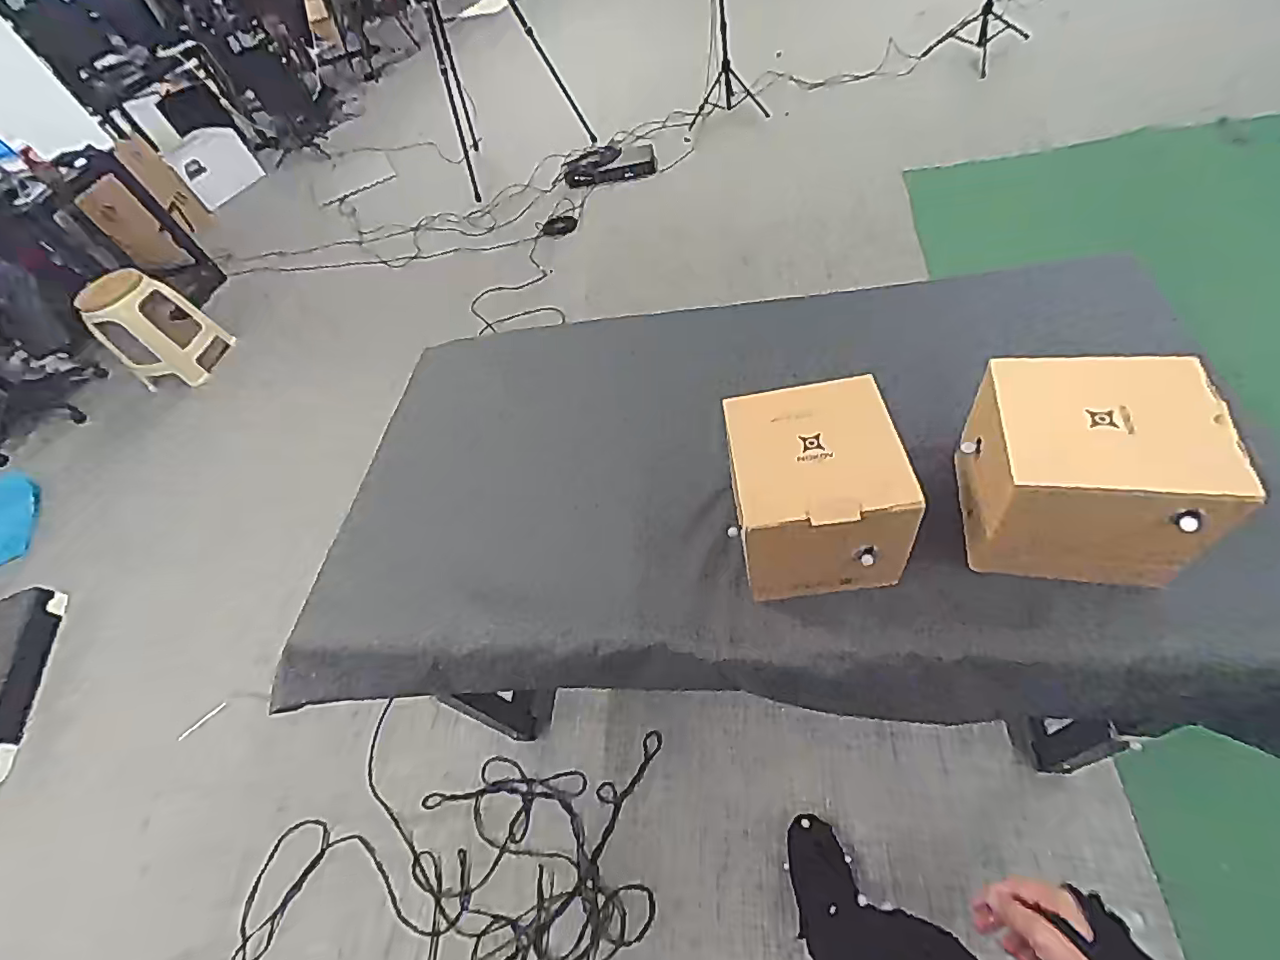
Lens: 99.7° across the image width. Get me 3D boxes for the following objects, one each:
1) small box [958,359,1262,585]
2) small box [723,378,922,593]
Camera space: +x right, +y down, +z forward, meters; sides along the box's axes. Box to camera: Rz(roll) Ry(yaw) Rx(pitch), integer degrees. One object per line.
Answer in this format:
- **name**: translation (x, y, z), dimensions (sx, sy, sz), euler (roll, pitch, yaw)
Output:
- **small box**: translation (0.446, -0.005, 0.559), dimensions (0.179, 0.176, 0.168), euler (3, 55, 17)
- **small box**: translation (0.192, 0.016, 0.611), dimensions (0.168, 0.176, 0.179), euler (-8, 51, 7)
